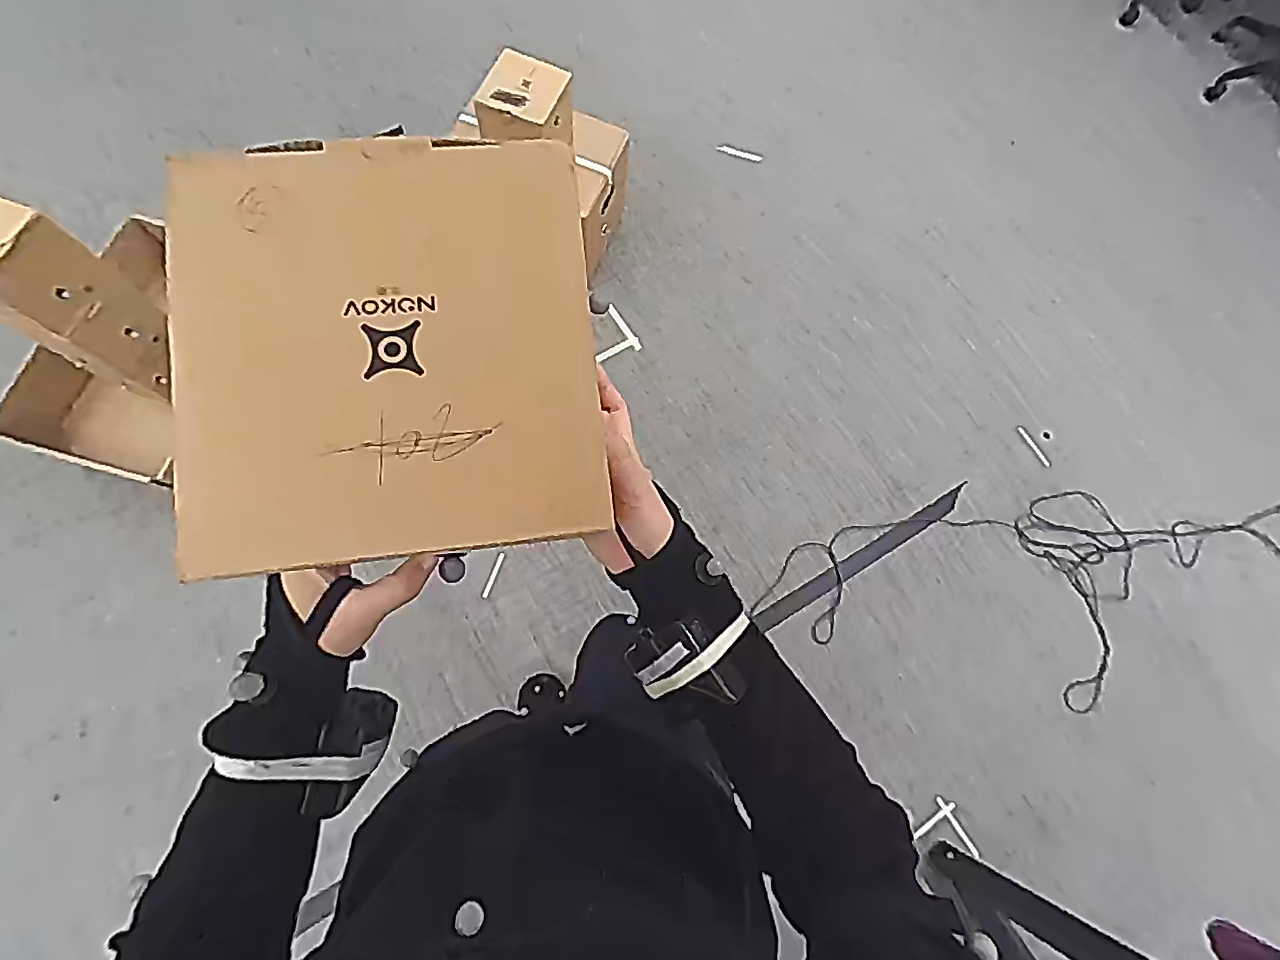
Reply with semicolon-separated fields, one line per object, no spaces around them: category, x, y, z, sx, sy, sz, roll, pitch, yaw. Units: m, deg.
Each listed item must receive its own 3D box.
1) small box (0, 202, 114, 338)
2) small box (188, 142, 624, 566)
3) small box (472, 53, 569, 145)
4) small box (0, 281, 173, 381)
small box;-1.153;-0.388;0.991;0.179;0.176;0.168;19;72;0
small box;-0.105;-0.050;0.302;0.168;0.176;0.179;-6;85;-7
small box;-0.273;-0.846;1.282;0.168;0.176;0.179;21;72;0
small box;-1.163;-0.333;1.144;0.179;0.176;0.168;20;72;0
